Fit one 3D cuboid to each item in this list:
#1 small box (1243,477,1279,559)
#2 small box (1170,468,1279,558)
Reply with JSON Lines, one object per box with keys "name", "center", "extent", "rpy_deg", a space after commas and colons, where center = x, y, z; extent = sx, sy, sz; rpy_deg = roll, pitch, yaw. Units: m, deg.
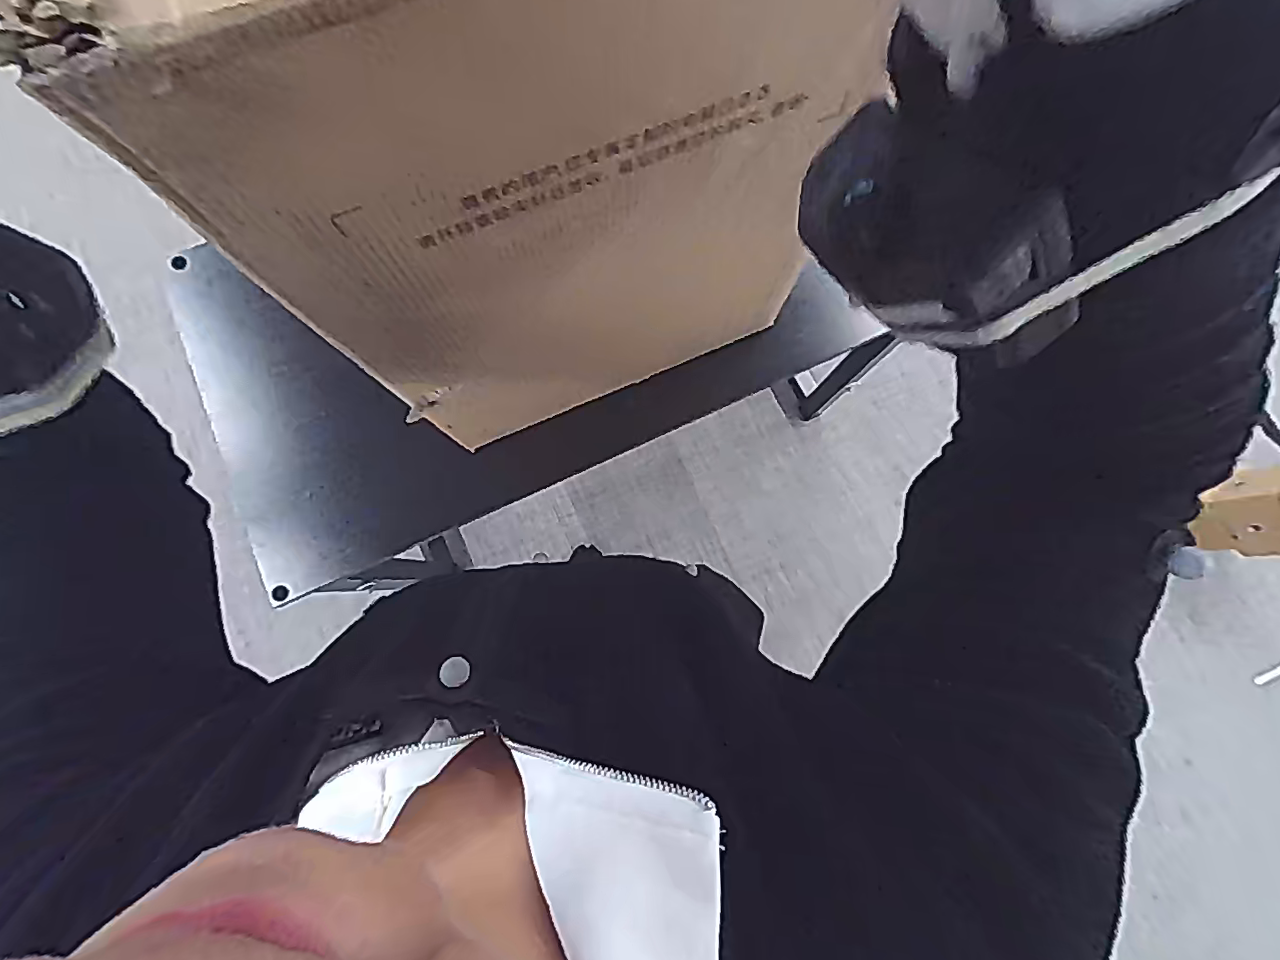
{"name": "small box", "center": [1.589, 0.080, 1.258], "extent": [0.179, 0.176, 0.168], "rpy_deg": [-32, 81, -6]}
{"name": "small box", "center": [1.579, 0.093, 1.422], "extent": [0.179, 0.176, 0.168], "rpy_deg": [-31, 81, -5]}
